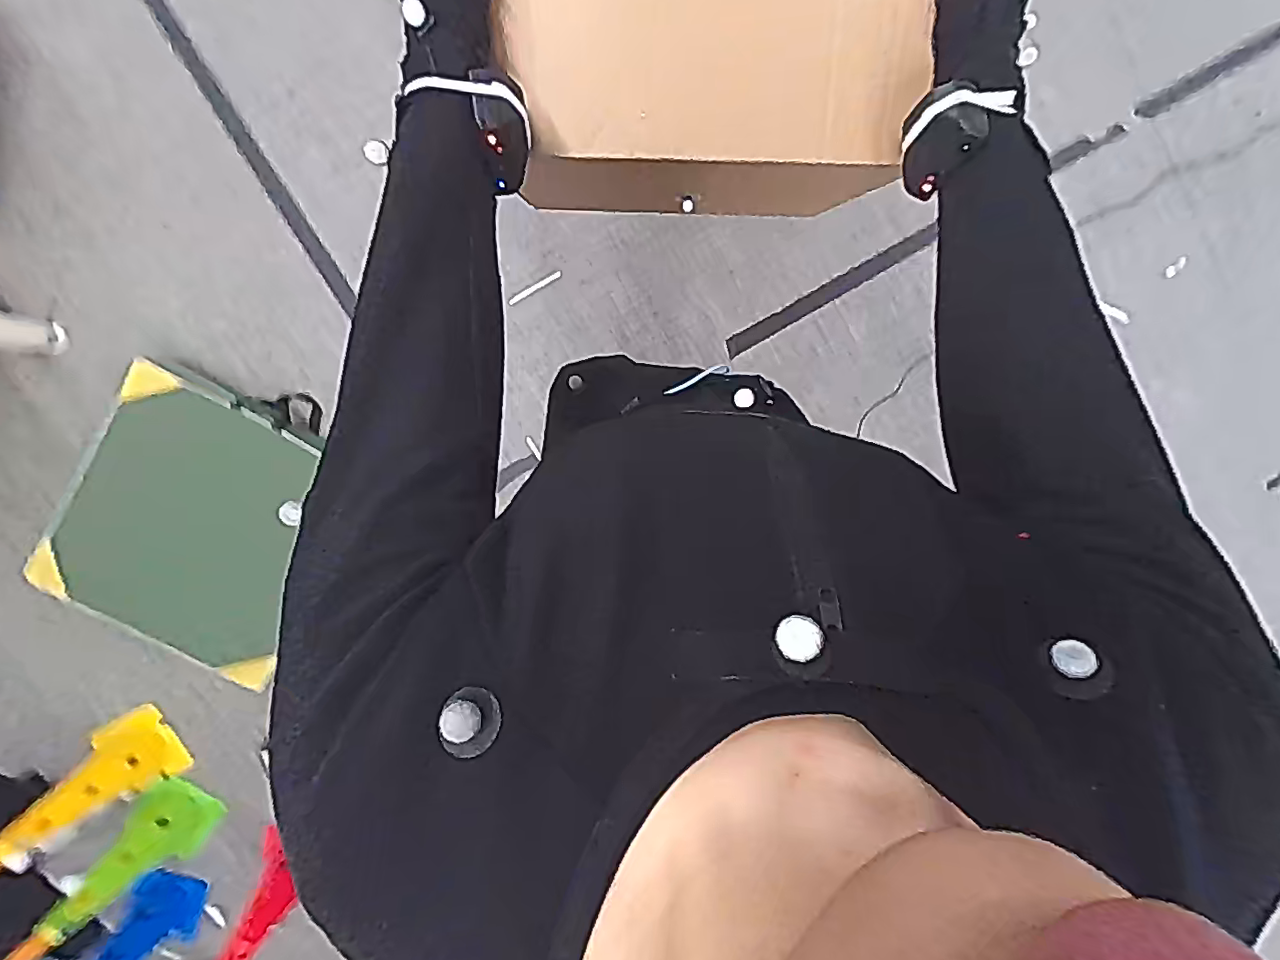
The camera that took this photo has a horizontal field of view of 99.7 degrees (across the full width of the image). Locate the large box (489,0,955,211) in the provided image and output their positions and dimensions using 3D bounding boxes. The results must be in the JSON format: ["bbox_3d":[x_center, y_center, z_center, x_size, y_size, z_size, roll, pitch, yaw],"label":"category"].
[{"bbox_3d":[0.070,-0.484,0.586,0.408,0.320,0.320,1,107,-2],"label":"large box"}]
